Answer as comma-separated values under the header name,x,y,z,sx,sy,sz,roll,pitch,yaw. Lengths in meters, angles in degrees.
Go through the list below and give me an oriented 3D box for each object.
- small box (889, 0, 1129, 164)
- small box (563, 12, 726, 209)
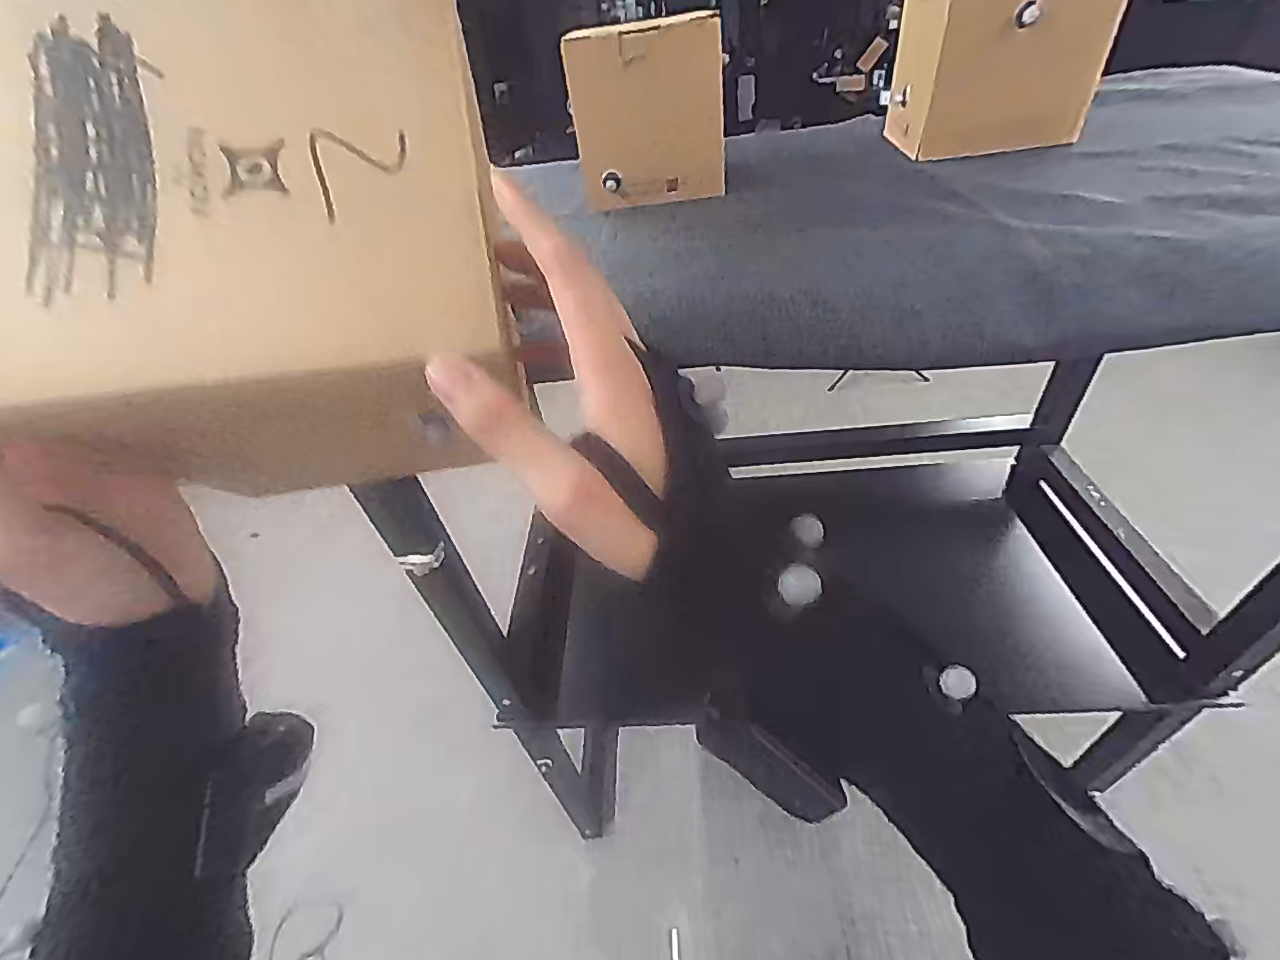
name,x,y,z,sx,sy,sz,roll,pitch,yaw
small box,0.416,-0.493,0.637,0.179,0.176,0.168,-3,42,9
small box,0.015,-0.444,0.660,0.168,0.176,0.179,-4,41,6
